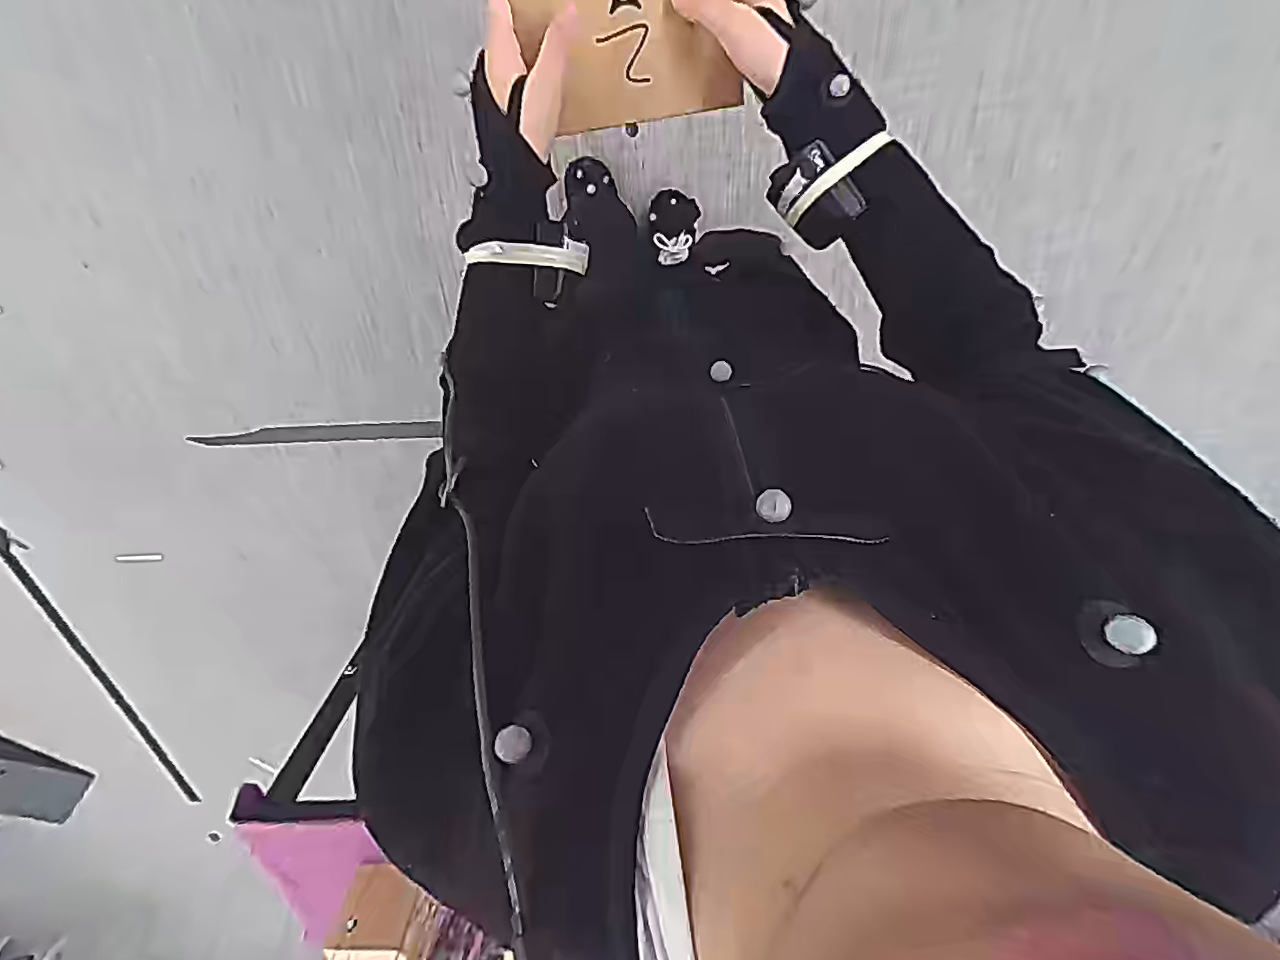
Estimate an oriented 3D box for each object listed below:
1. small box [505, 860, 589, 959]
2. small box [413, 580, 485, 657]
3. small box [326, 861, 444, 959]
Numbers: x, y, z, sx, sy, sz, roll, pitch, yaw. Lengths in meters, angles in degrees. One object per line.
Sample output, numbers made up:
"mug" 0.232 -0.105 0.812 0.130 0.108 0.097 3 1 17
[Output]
"small box" -0.213 1.027 1.257 0.168 0.176 0.179 7 118 -3
"small box" -0.629 0.452 1.786 0.179 0.176 0.168 12 118 -6
"small box" -0.582 1.018 1.259 0.179 0.176 0.168 -1 119 1
